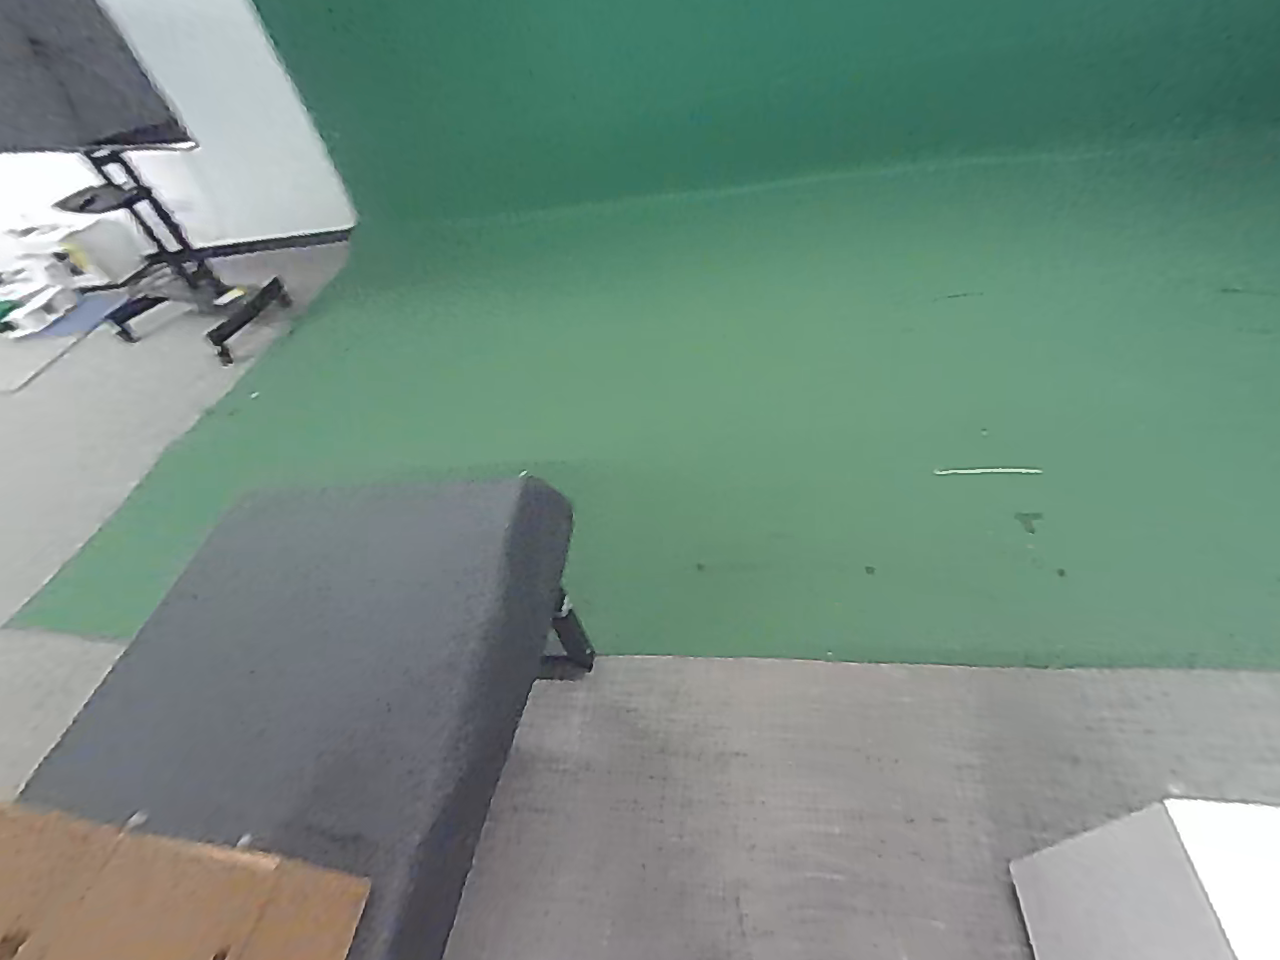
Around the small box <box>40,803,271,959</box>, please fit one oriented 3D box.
[{"bbox_3d":[-0.440,0.354,0.404,0.179,0.176,0.168,-2,47,14],"label":"small box"}]

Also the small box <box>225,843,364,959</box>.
[{"bbox_3d":[-0.408,0.464,0.522,0.168,0.176,0.179,0,49,13],"label":"small box"}]
